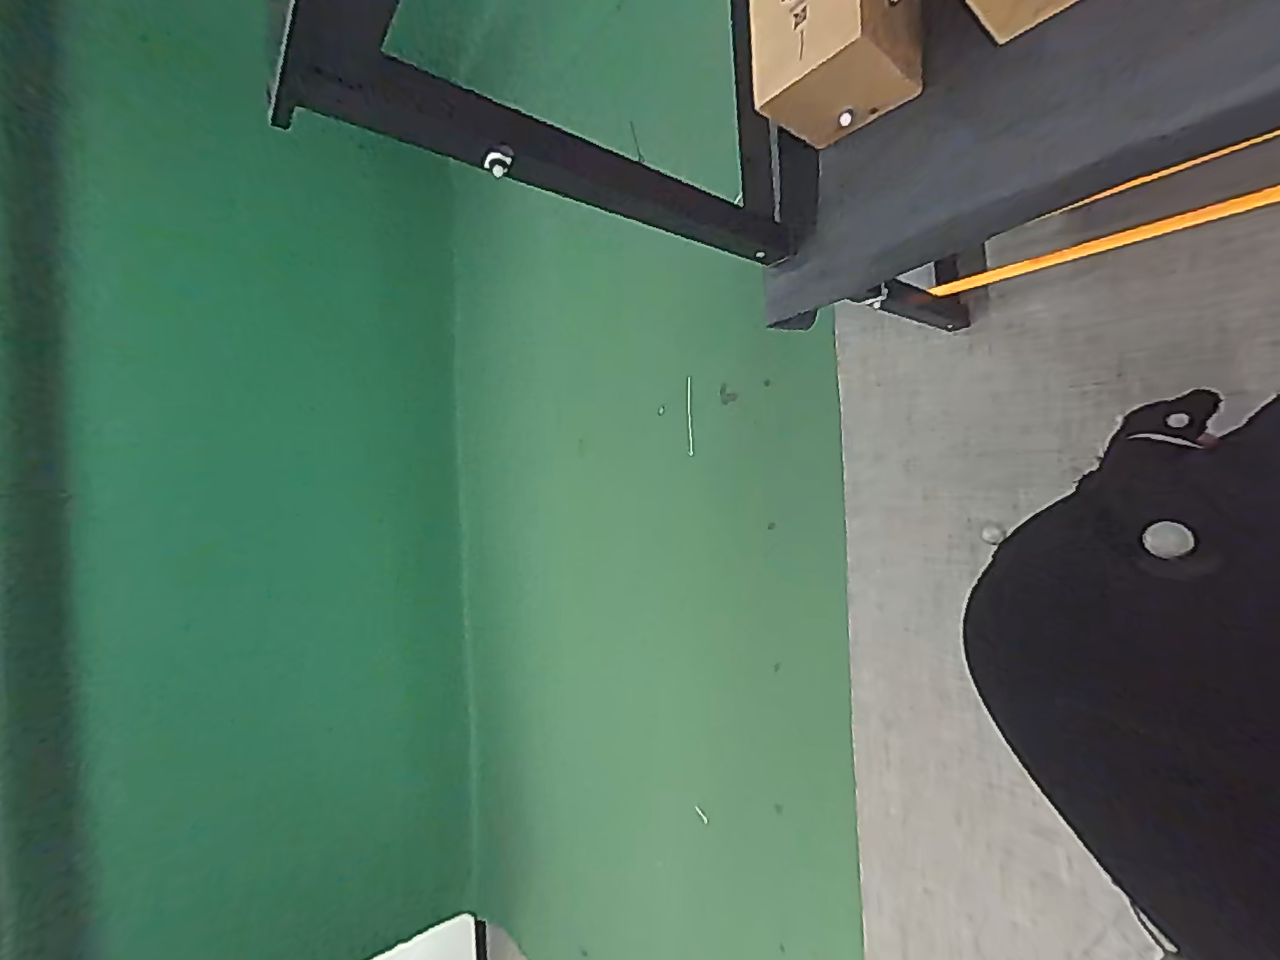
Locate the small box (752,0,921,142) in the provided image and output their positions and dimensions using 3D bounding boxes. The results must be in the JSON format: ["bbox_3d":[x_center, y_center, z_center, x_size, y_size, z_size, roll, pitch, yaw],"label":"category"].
[{"bbox_3d":[0.277,-0.627,0.765,0.168,0.176,0.179,-2,91,51],"label":"small box"}]

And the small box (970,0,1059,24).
[{"bbox_3d":[0.438,-0.637,0.569,0.168,0.176,0.179,-3,89,51],"label":"small box"}]
